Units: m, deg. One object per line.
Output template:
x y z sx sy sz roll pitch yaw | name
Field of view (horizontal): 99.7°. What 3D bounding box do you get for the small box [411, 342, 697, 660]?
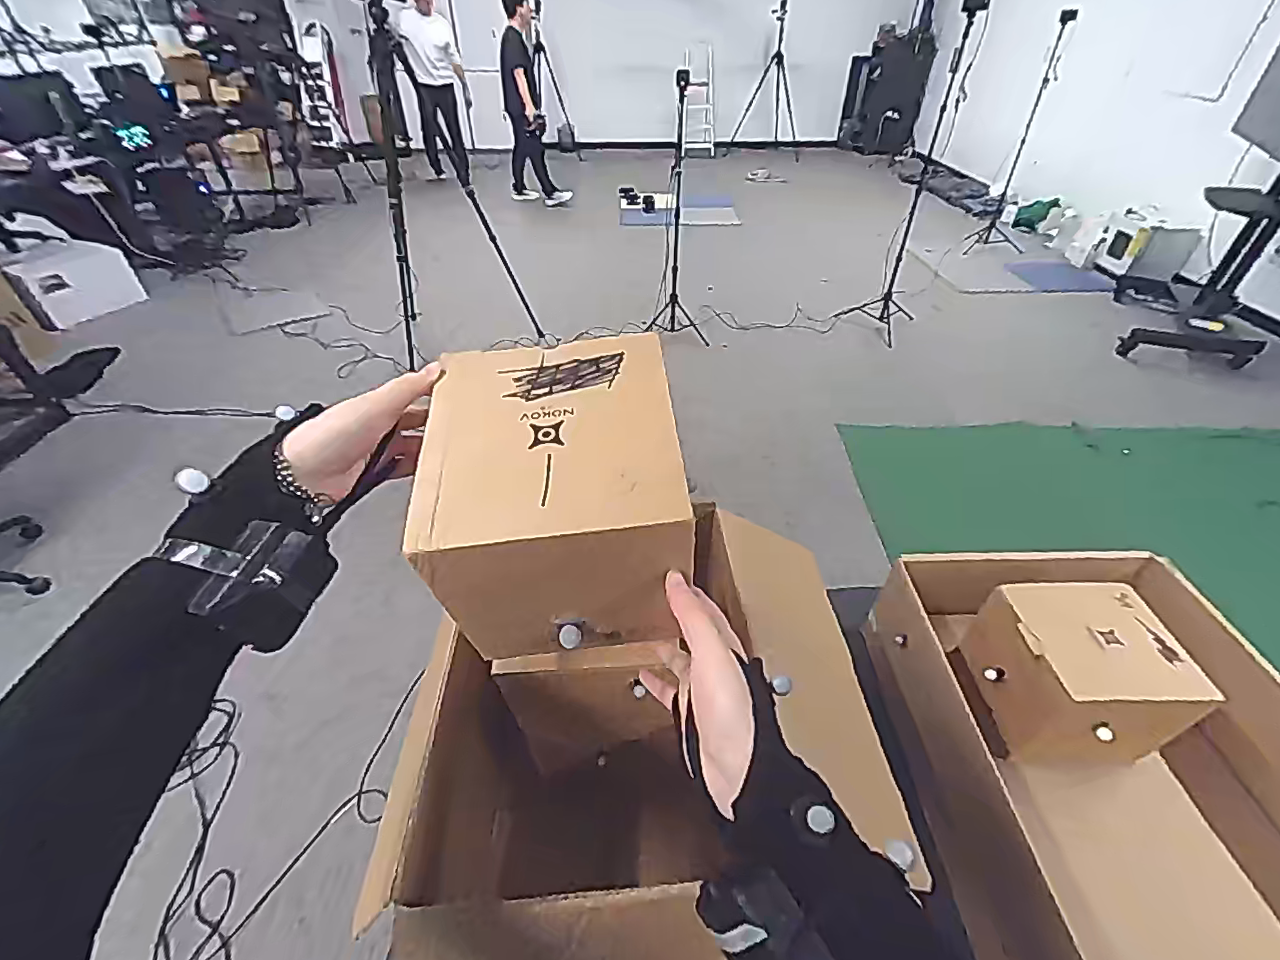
-0.052 0.019 0.420 0.168 0.176 0.179 -6 53 0 | small box
